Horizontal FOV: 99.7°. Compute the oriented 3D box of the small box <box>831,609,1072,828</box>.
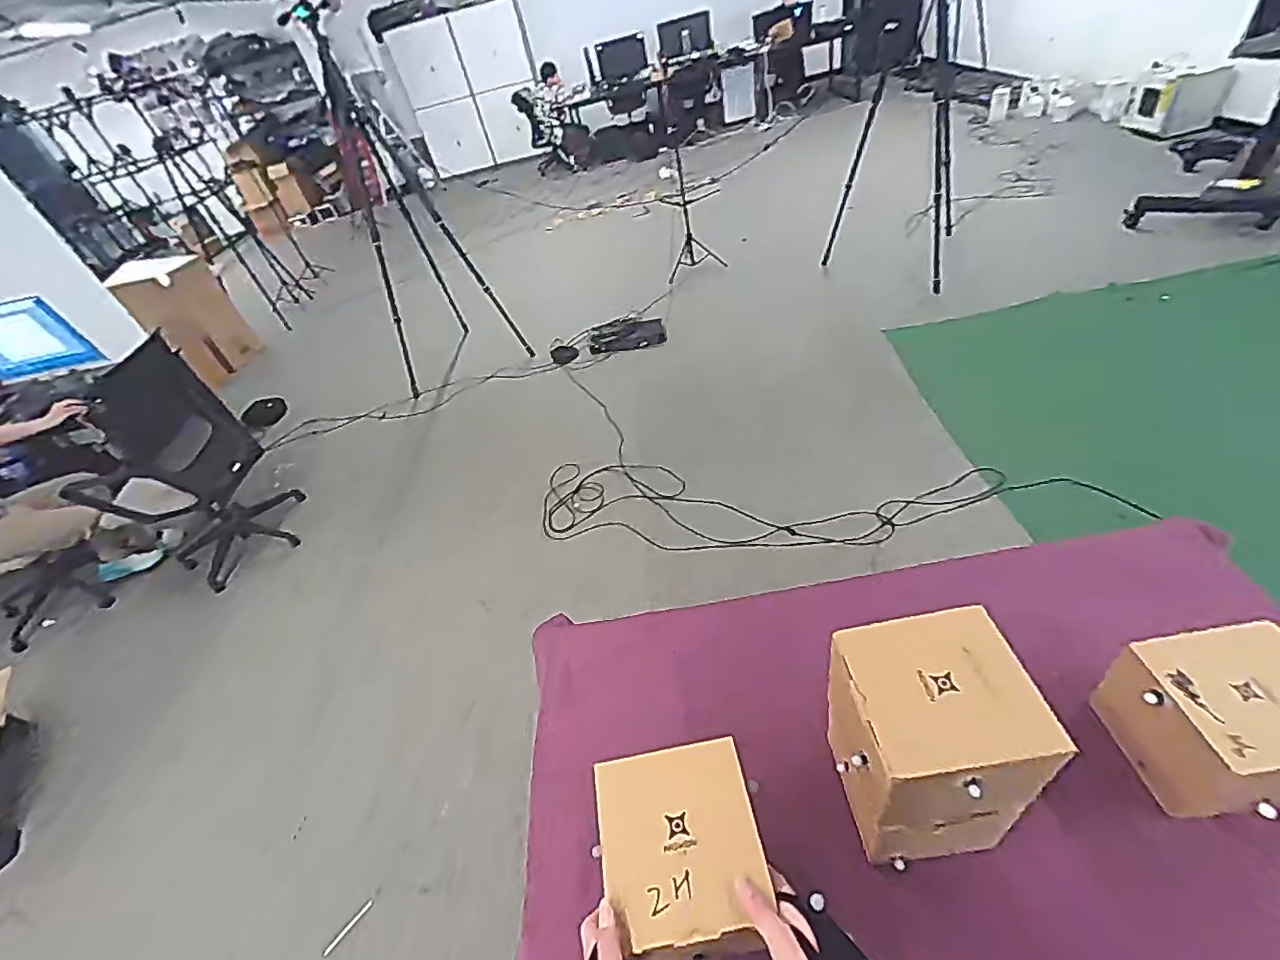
[{"bbox_3d":[0.331,0.276,0.621,0.179,0.176,0.168,-11,42,4],"label":"small box"}]

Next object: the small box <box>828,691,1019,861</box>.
[{"bbox_3d":[0.364,0.392,0.732,0.168,0.176,0.179,-12,41,4],"label":"small box"}]

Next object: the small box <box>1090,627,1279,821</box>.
[{"bbox_3d":[0.746,0.316,0.698,0.179,0.176,0.168,-11,41,5],"label":"small box"}]

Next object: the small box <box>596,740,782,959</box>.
[{"bbox_3d":[0.048,0.427,0.610,0.168,0.176,0.179,-11,44,-2],"label":"small box"}]
